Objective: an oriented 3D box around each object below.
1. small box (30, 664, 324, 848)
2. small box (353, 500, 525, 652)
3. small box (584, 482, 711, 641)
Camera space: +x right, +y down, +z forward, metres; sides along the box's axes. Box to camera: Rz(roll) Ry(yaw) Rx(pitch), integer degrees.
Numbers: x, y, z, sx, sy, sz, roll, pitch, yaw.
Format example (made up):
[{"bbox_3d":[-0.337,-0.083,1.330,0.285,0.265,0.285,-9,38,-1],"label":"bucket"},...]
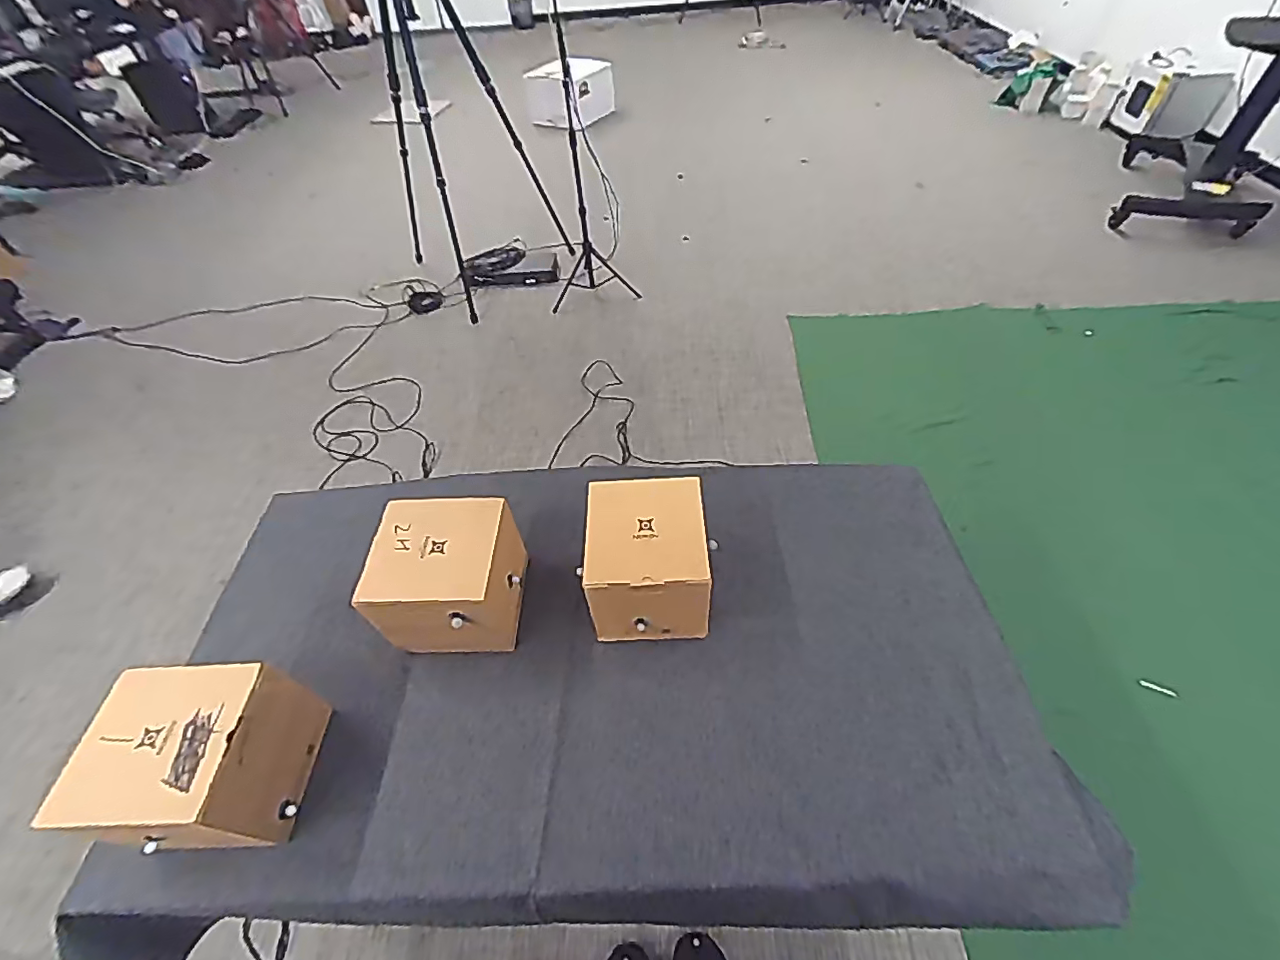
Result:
[{"bbox_3d":[-0.526,0.335,0.653,0.179,0.176,0.168,-3,49,2],"label":"small box"},{"bbox_3d":[-0.278,0.144,0.799,0.179,0.176,0.168,-1,51,2],"label":"small box"},{"bbox_3d":[0.011,0.122,0.806,0.168,0.176,0.179,-2,50,1],"label":"small box"}]
